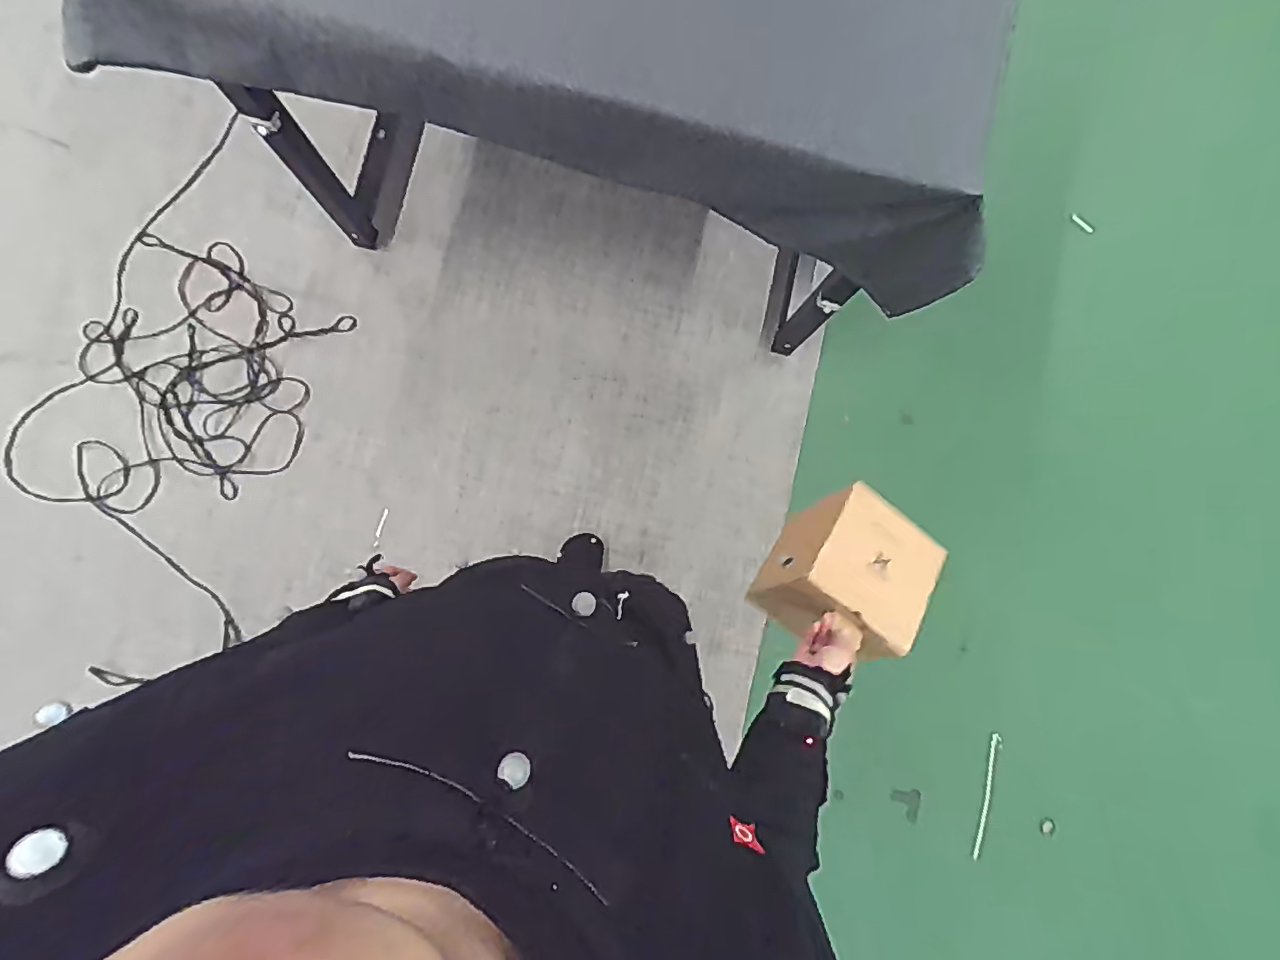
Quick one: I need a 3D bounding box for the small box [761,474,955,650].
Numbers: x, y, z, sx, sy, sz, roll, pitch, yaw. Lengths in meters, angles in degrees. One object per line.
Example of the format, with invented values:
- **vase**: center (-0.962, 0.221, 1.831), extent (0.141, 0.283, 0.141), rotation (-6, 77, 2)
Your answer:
- **small box**: center (0.301, 0.127, 0.777), extent (0.168, 0.176, 0.179), rotation (39, 64, -3)
